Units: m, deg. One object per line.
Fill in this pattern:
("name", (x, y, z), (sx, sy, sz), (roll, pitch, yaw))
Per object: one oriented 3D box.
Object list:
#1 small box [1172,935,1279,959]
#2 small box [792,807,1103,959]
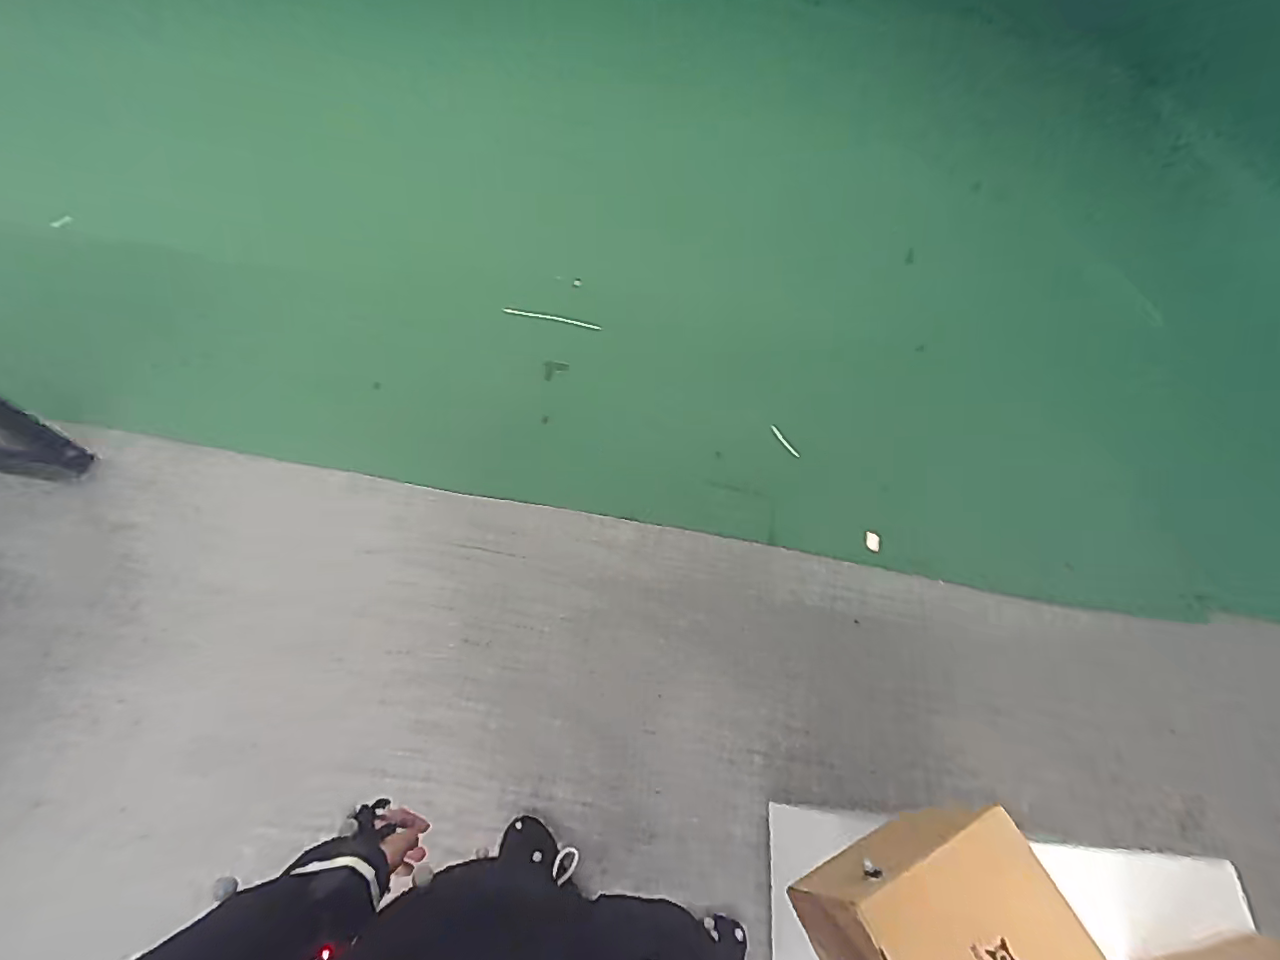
("small box", (0.633, 0.556, 0.491), (0.179, 0.176, 0.168), (-7, 64, -10))
("small box", (0.275, 0.429, 0.500), (0.179, 0.176, 0.168), (-19, 62, -19))
